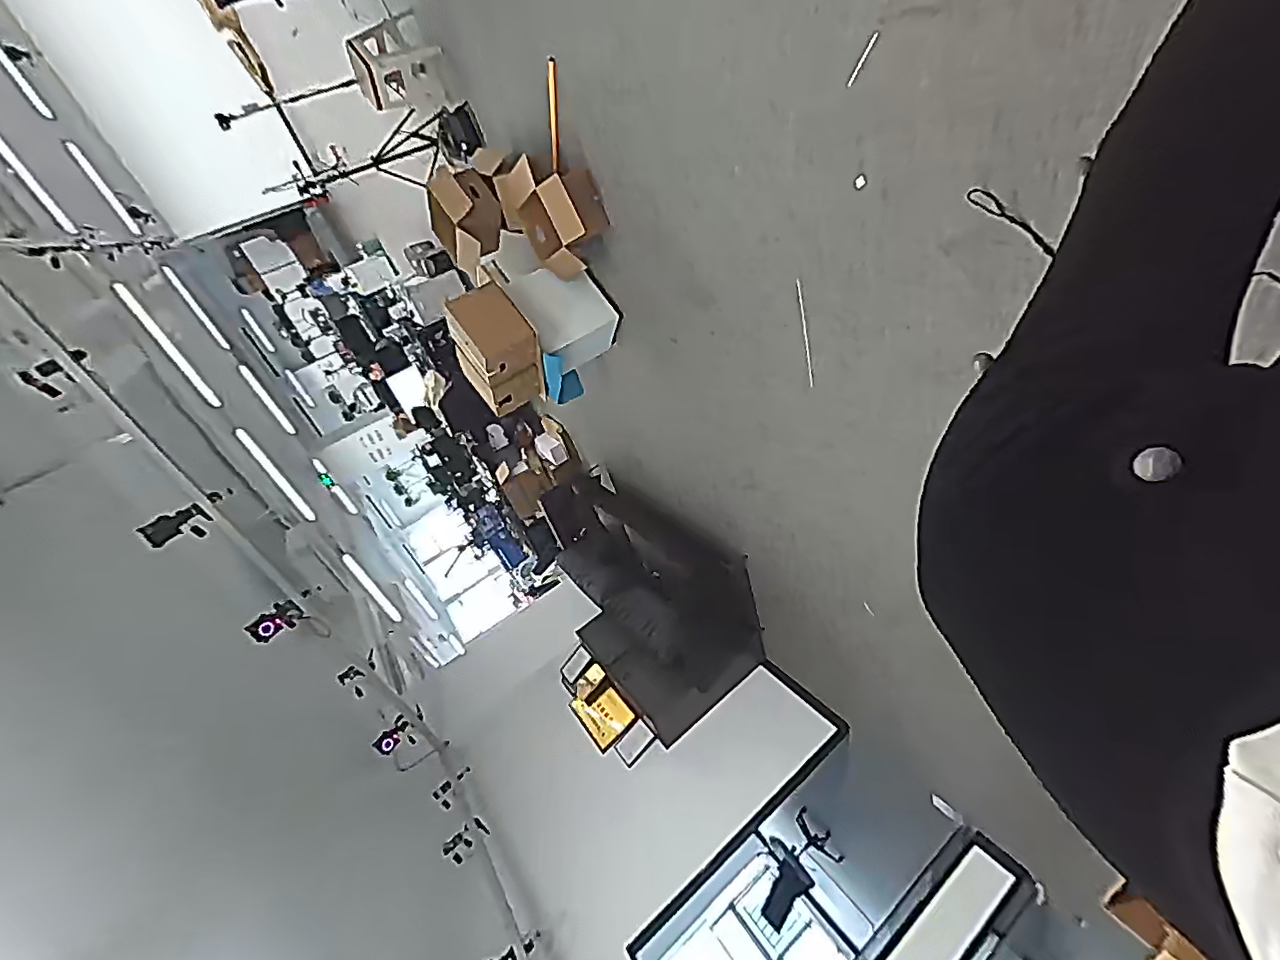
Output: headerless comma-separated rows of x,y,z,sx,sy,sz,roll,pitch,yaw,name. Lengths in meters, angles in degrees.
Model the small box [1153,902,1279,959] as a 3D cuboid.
1.386,1.152,1.284,0.179,0.176,0.168,33,151,48,small box
